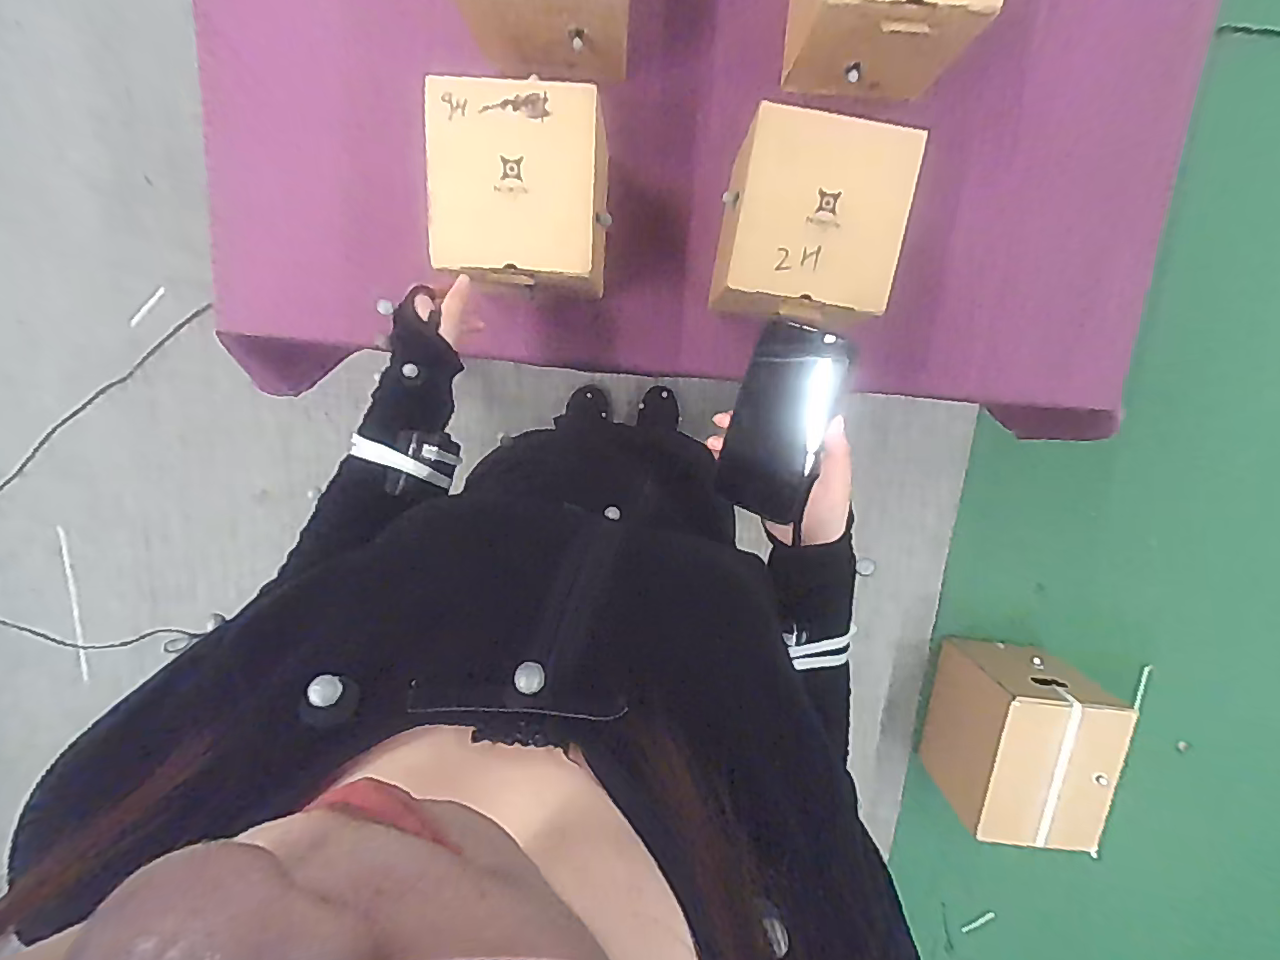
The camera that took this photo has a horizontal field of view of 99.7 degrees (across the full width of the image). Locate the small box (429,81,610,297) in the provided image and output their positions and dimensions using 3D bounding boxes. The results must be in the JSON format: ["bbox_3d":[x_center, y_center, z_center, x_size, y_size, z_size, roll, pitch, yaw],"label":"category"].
[{"bbox_3d":[-0.123,-0.307,0.608,0.168,0.176,0.179,3,102,0],"label":"small box"}]

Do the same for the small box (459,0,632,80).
[{"bbox_3d":[-0.090,-0.555,0.559,0.168,0.176,0.179,5,102,-2],"label":"small box"}]

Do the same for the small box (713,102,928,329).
[{"bbox_3d":[0.184,-0.278,0.610,0.168,0.176,0.179,10,101,-1],"label":"small box"}]

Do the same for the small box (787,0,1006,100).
[{"bbox_3d":[0.259,-0.535,0.559,0.168,0.176,0.179,3,102,0],"label":"small box"}]
